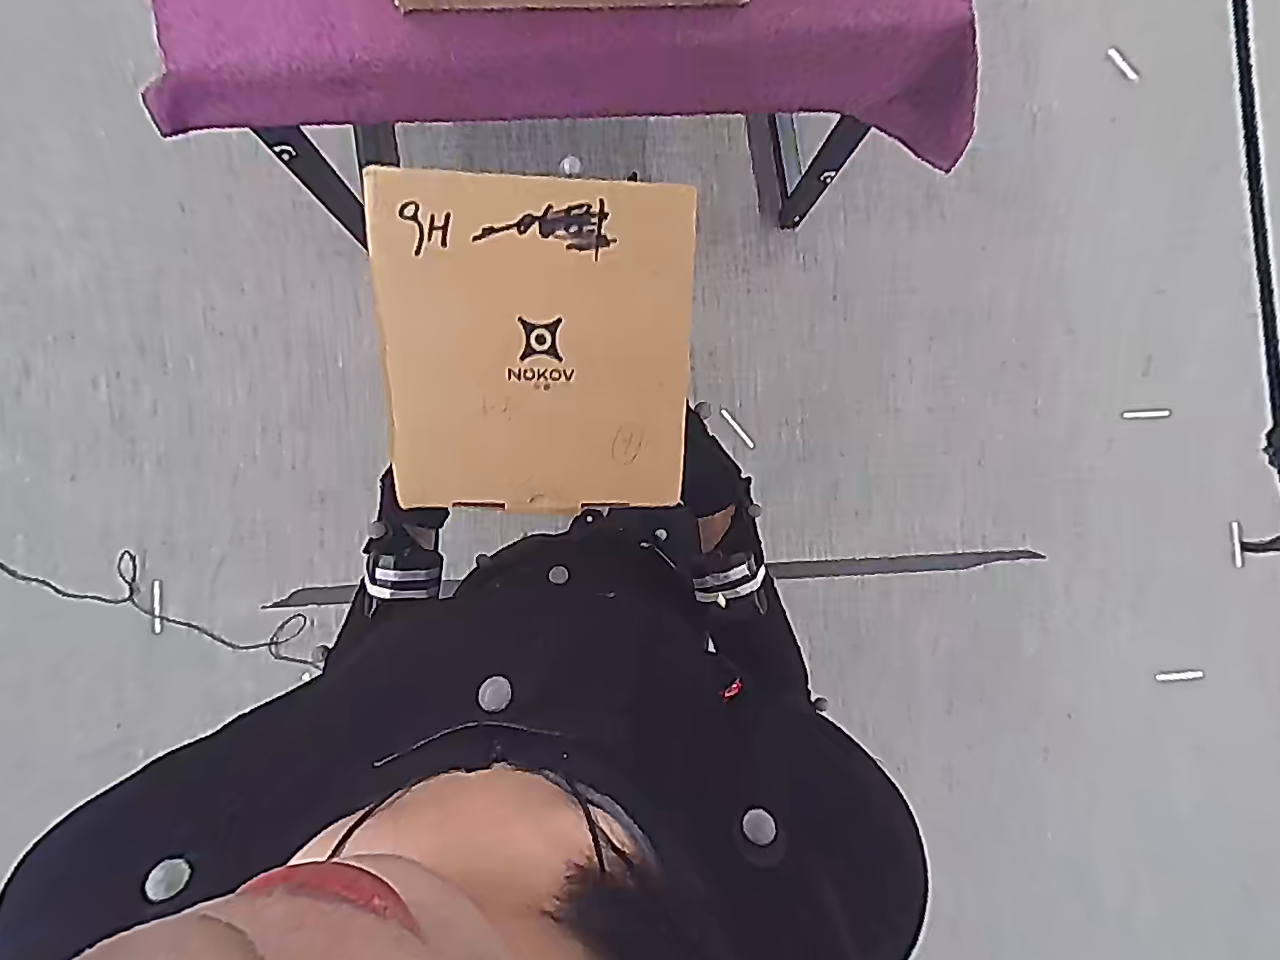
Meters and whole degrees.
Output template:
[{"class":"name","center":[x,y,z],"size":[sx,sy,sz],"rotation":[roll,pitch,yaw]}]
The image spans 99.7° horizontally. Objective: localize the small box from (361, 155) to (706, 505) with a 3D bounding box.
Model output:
[{"class":"small box","center":[-0.059,-0.094,0.360],"size":[0.168,0.176,0.179],"rotation":[0,109,-6]}]
